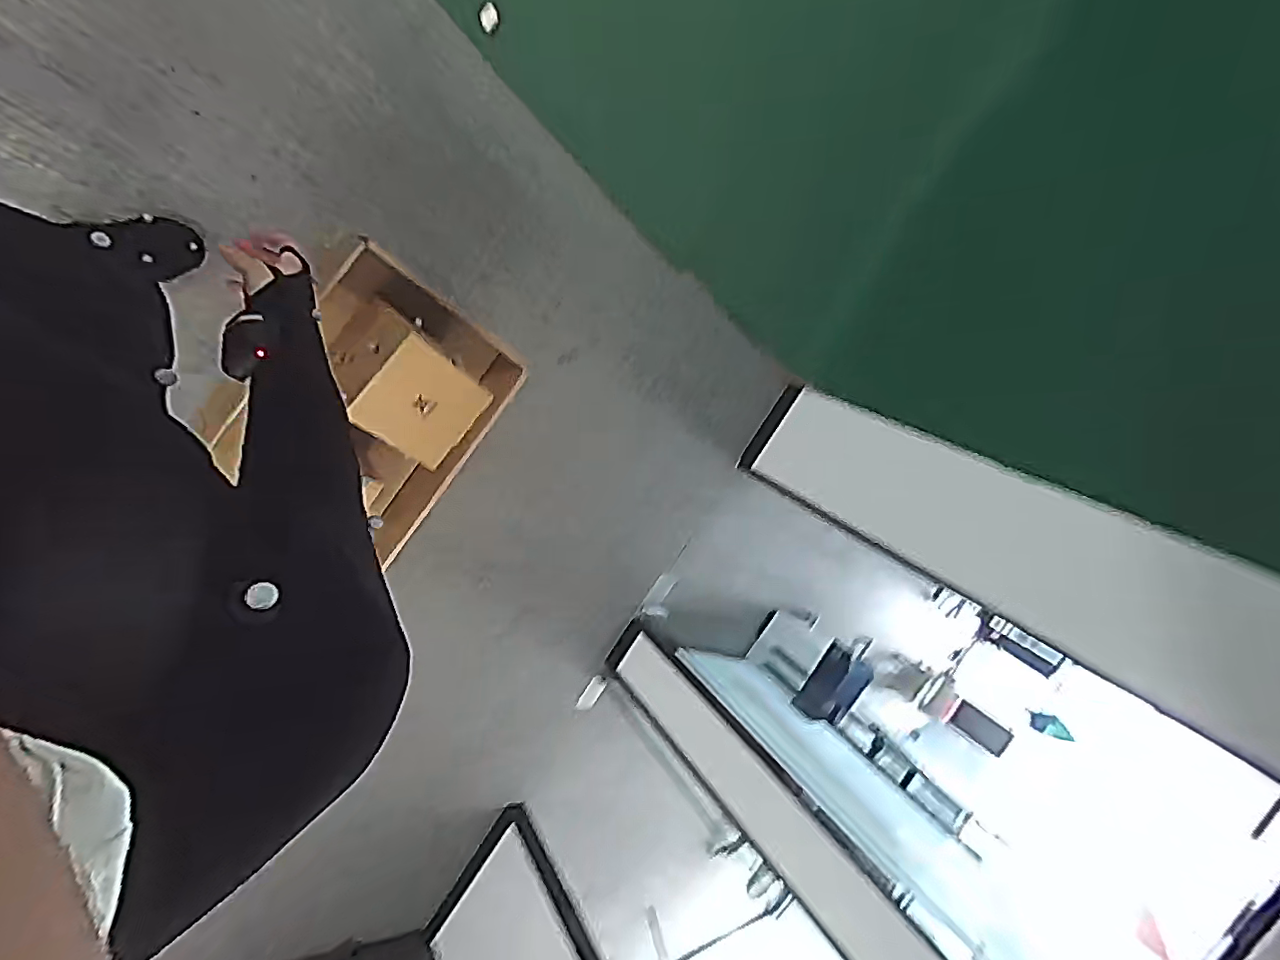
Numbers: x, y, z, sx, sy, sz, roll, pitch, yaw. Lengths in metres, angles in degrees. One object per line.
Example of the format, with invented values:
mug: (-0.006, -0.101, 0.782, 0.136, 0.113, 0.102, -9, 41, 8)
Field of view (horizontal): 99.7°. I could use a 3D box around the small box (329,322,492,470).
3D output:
small box: (-0.398, -0.151, 0.929, 0.168, 0.176, 0.179, -51, 137, -2)
